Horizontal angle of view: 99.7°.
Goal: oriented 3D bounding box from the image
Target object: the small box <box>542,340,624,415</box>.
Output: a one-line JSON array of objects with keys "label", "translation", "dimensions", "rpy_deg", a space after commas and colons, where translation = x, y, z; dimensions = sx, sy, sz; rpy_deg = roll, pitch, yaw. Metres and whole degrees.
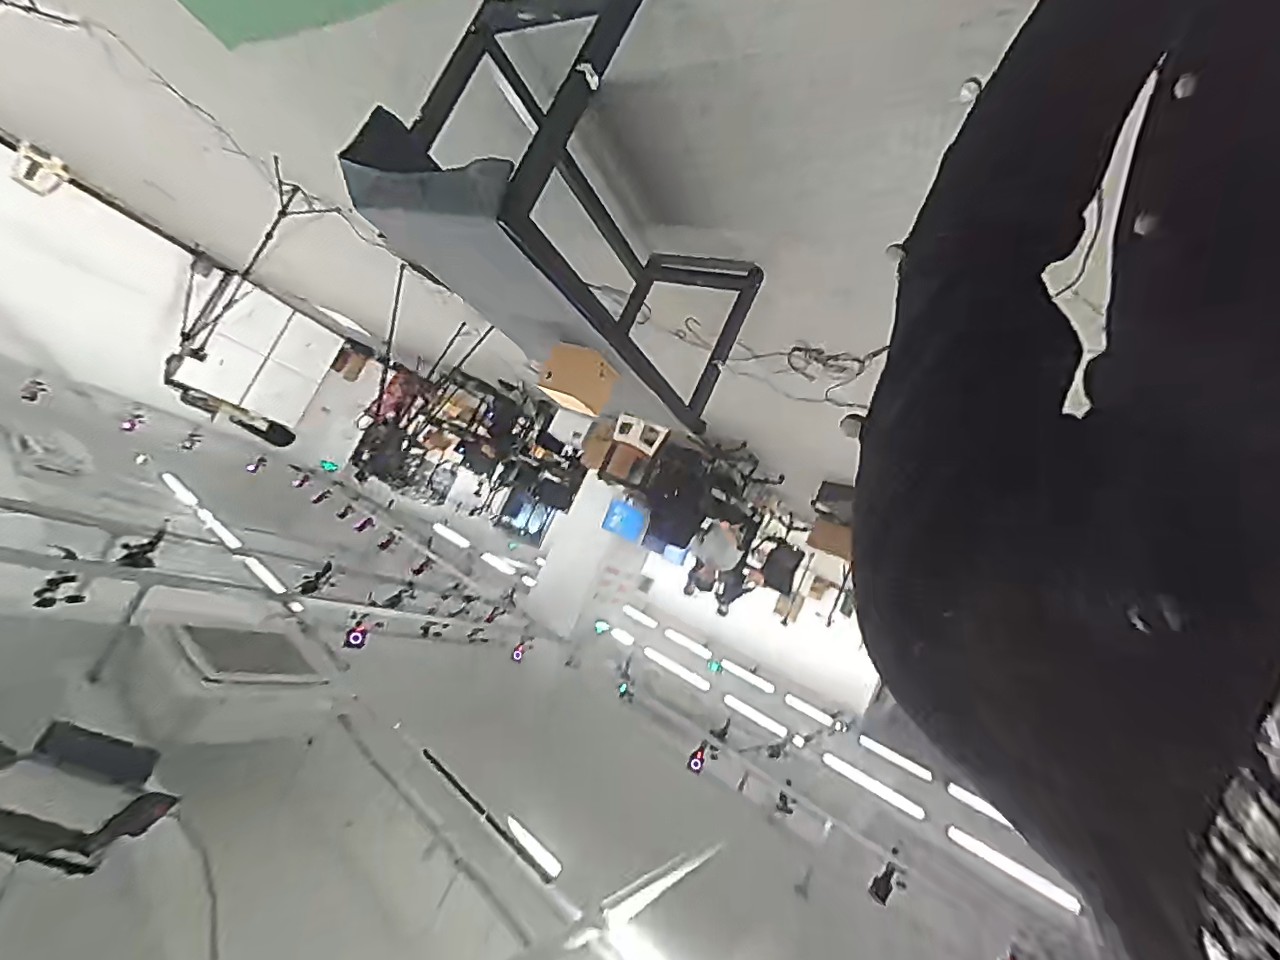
[{"label": "small box", "translation": [-0.182, -0.340, 1.777], "dimensions": [0.179, 0.176, 0.168], "rpy_deg": [21, 173, 33]}]
